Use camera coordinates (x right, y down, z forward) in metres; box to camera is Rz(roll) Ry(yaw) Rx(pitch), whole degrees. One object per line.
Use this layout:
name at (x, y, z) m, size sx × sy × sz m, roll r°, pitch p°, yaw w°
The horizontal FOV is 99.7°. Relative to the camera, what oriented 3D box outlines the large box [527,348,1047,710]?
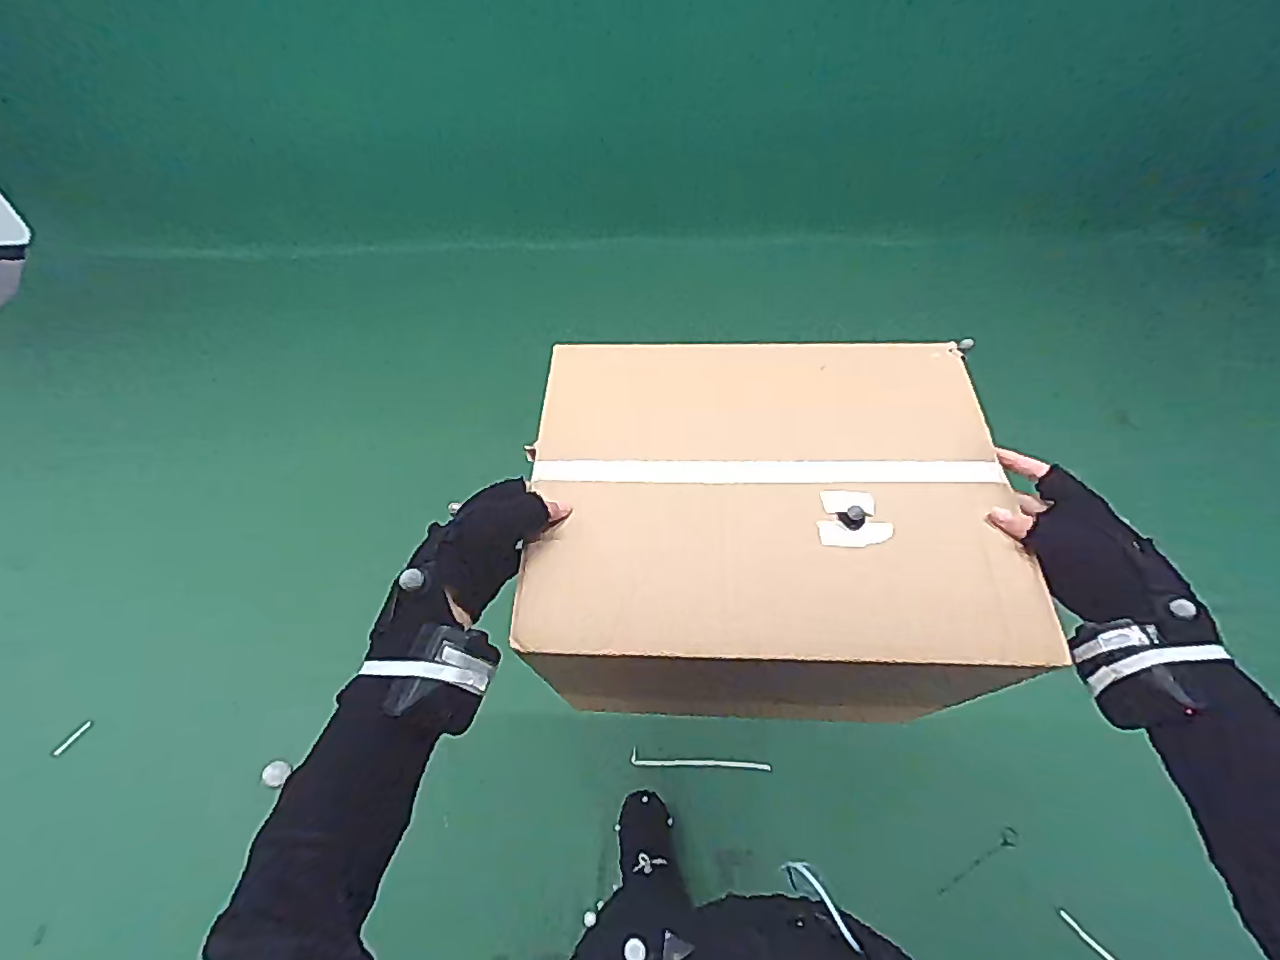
large box at (0.114, 0.071, 0.613) m, size 0.408 × 0.320 × 0.320 m, roll 0°, pitch 59°, yaw 2°
